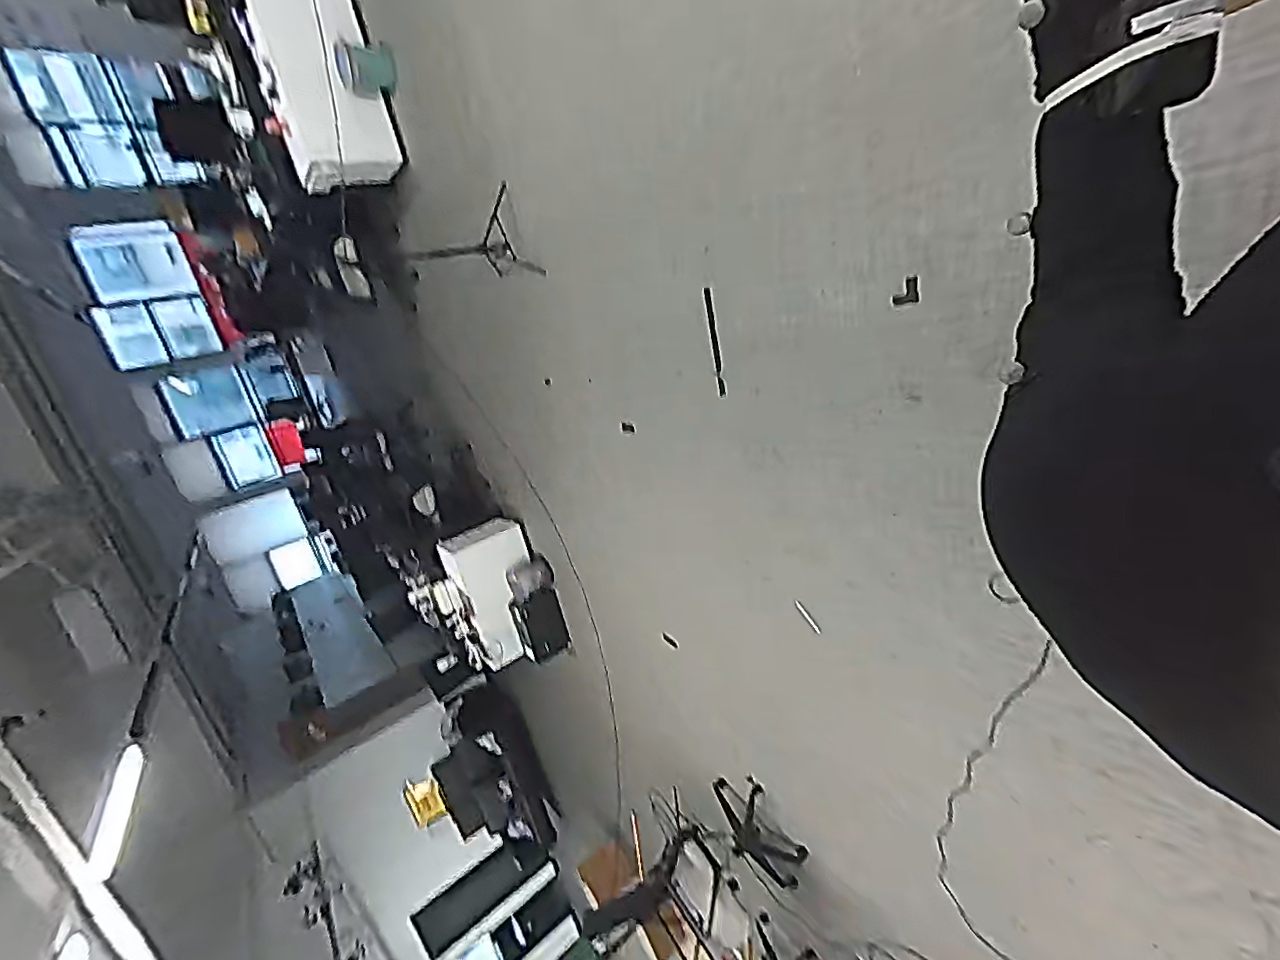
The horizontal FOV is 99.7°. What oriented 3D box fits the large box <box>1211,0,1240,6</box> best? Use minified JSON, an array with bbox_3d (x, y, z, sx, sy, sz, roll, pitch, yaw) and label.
[{"bbox_3d":[0.511,-0.522,0.236,0.408,0.320,0.320,2,116,52],"label":"large box"}]
